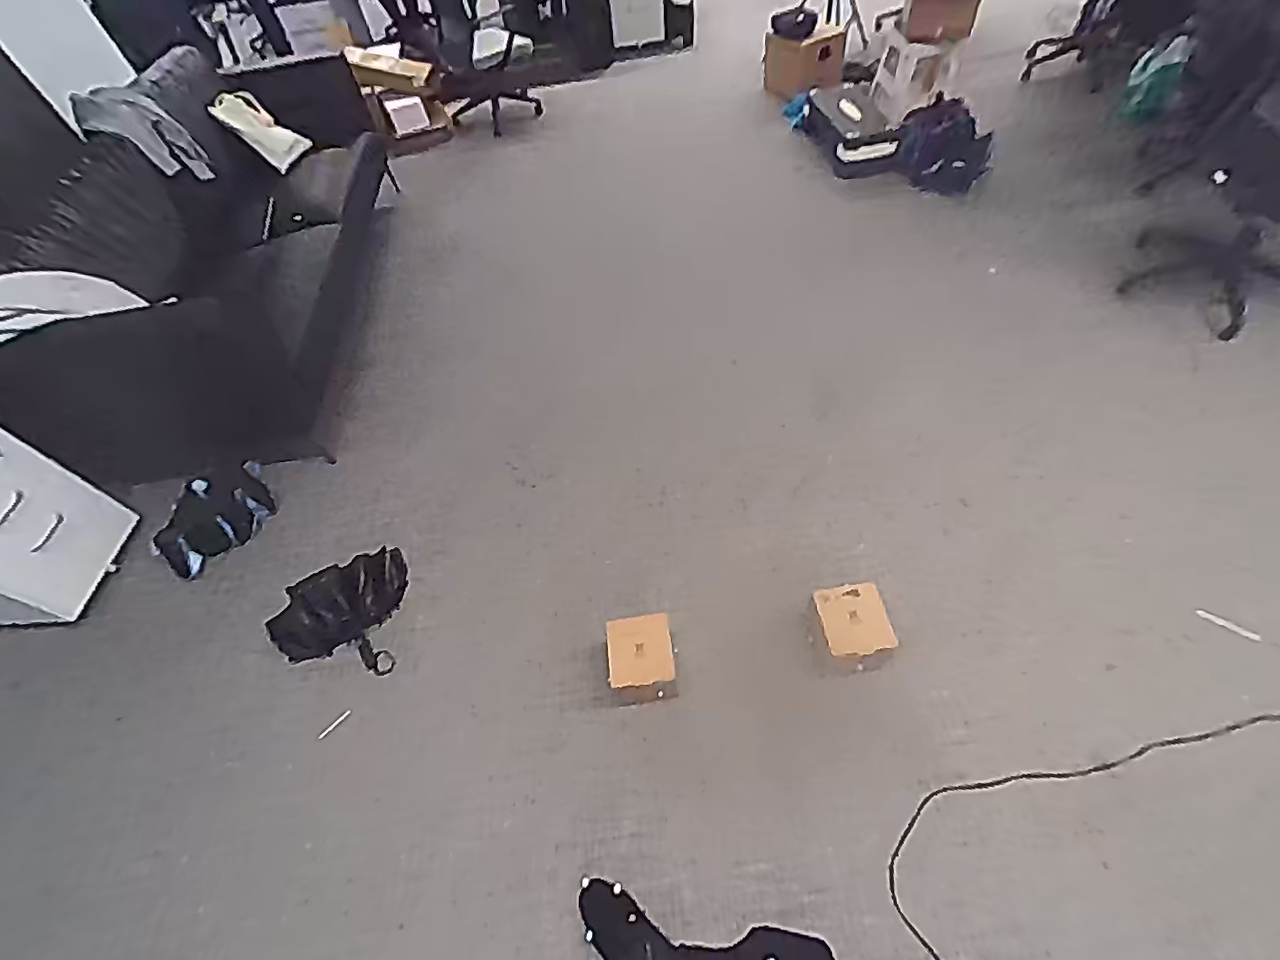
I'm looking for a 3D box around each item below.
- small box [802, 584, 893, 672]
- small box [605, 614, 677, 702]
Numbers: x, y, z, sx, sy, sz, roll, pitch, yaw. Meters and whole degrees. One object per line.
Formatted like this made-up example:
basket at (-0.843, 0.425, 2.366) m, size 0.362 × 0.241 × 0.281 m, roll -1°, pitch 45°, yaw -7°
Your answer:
small box at (0.545, 0.401, 1.443) m, size 0.168 × 0.176 × 0.179 m, roll -9°, pitch 54°, yaw 1°
small box at (0.005, 0.485, 1.453) m, size 0.168 × 0.176 × 0.179 m, roll -9°, pitch 52°, yaw -1°
